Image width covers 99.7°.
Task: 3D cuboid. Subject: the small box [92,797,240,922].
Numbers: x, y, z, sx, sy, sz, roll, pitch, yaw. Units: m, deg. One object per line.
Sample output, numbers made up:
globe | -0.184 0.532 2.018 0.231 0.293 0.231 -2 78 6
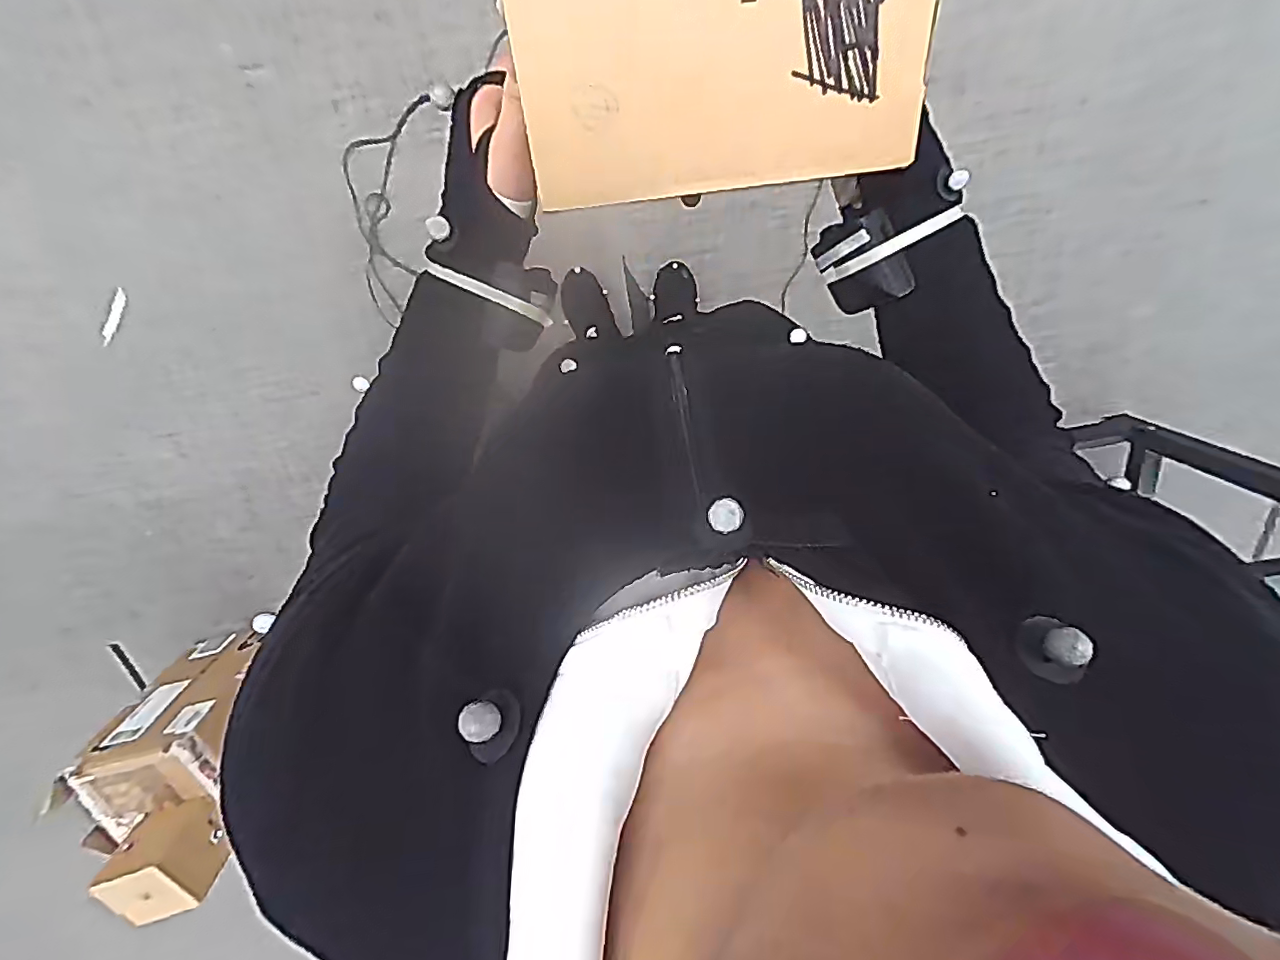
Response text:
small box | -1.143 0.921 1.321 0.179 0.176 0.168 -21 114 2
